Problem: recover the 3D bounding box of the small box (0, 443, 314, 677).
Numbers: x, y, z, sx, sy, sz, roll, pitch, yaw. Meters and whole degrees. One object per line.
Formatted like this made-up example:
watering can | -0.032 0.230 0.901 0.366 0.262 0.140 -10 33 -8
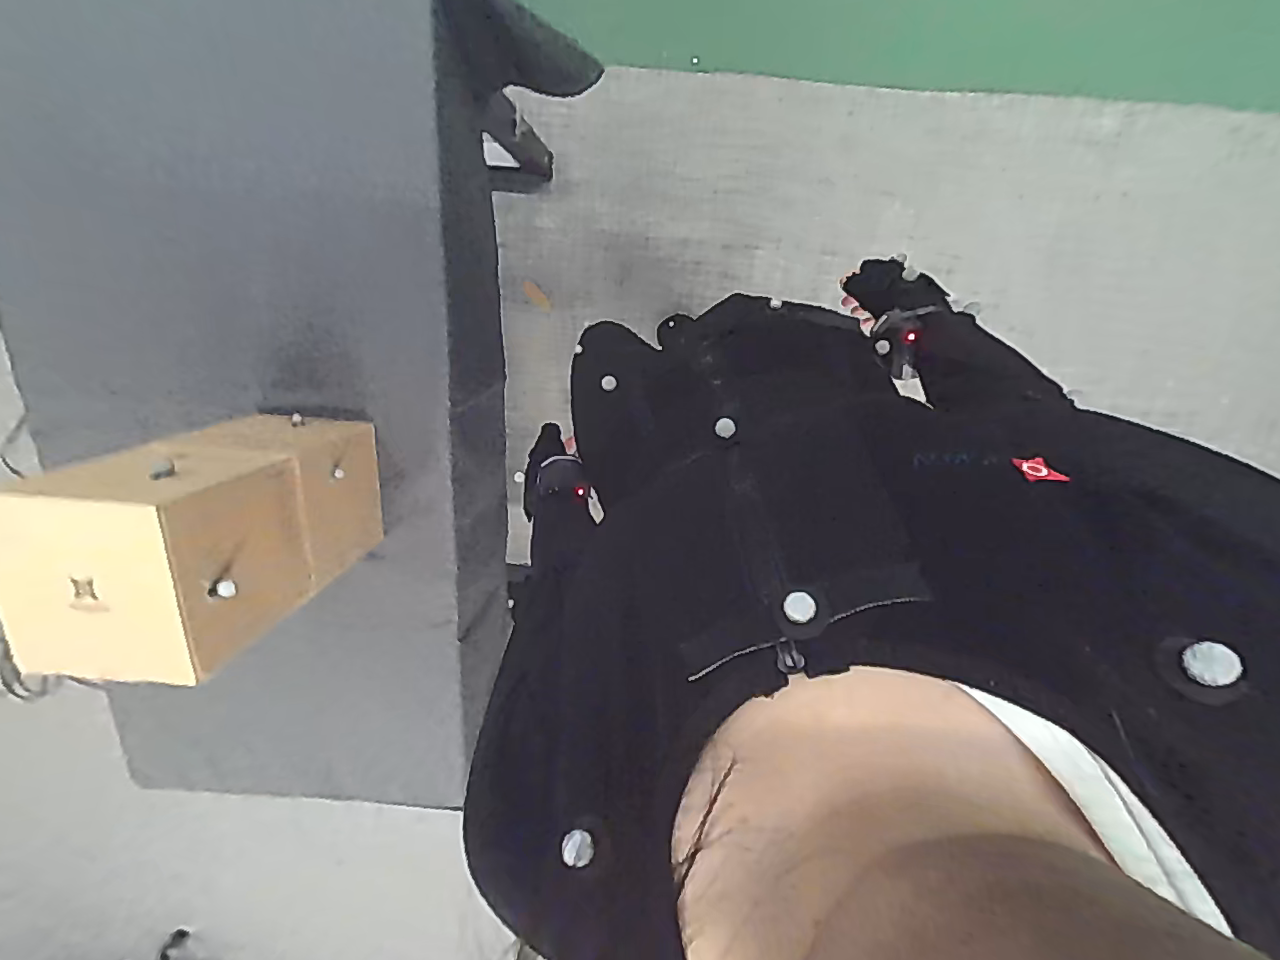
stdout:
small box | -0.462 0.066 0.539 0.168 0.176 0.179 4 108 2
